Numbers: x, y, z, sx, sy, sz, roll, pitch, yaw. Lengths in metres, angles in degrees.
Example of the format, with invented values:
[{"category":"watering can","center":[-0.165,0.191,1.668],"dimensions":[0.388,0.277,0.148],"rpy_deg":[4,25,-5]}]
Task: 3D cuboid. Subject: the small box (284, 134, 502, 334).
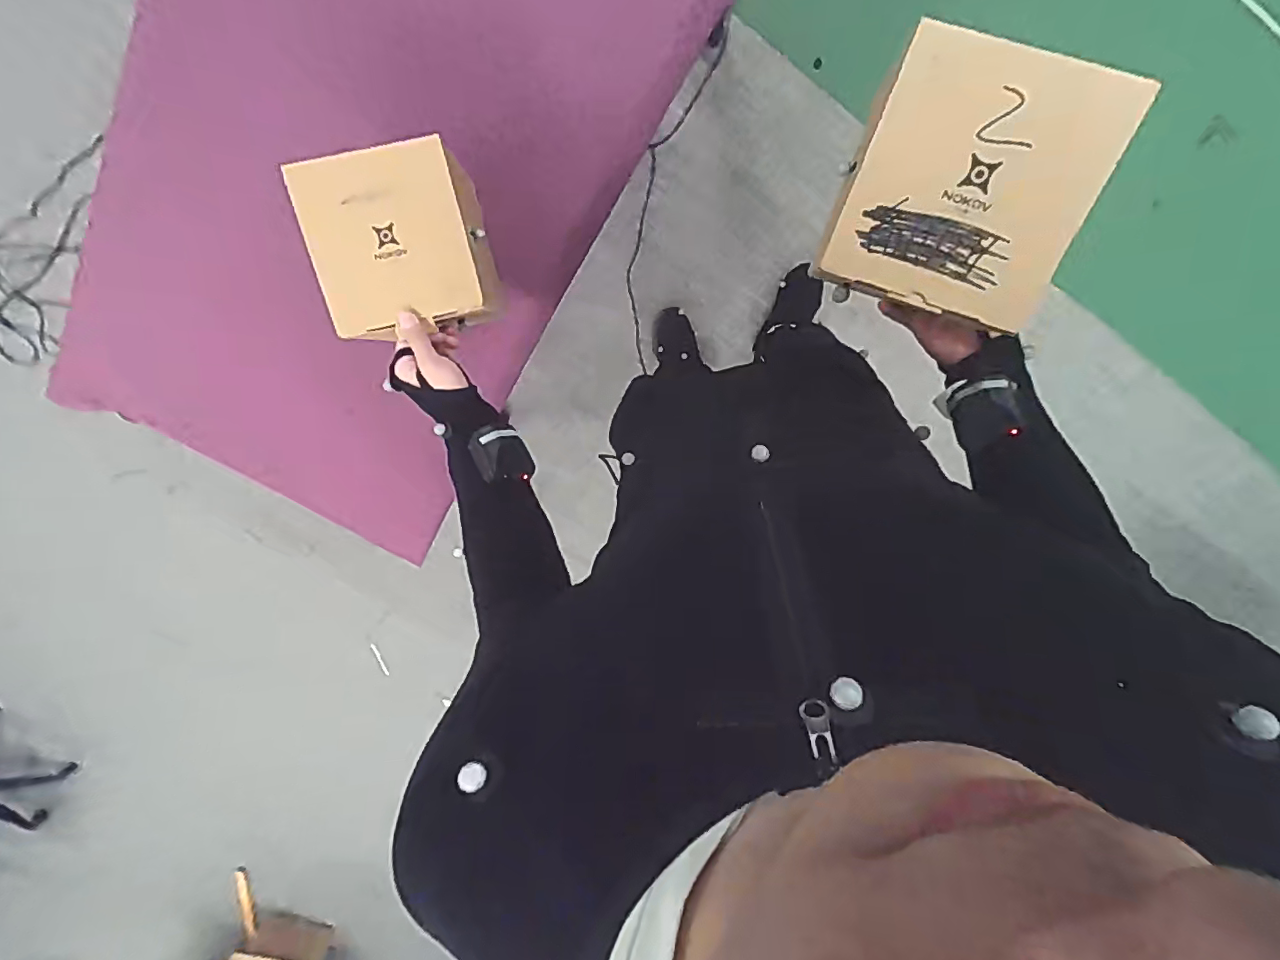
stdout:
[{"category":"small box","center":[-0.274,-0.278,0.649],"dimensions":[0.168,0.176,0.179],"rpy_deg":[-12,105,-3]}]
